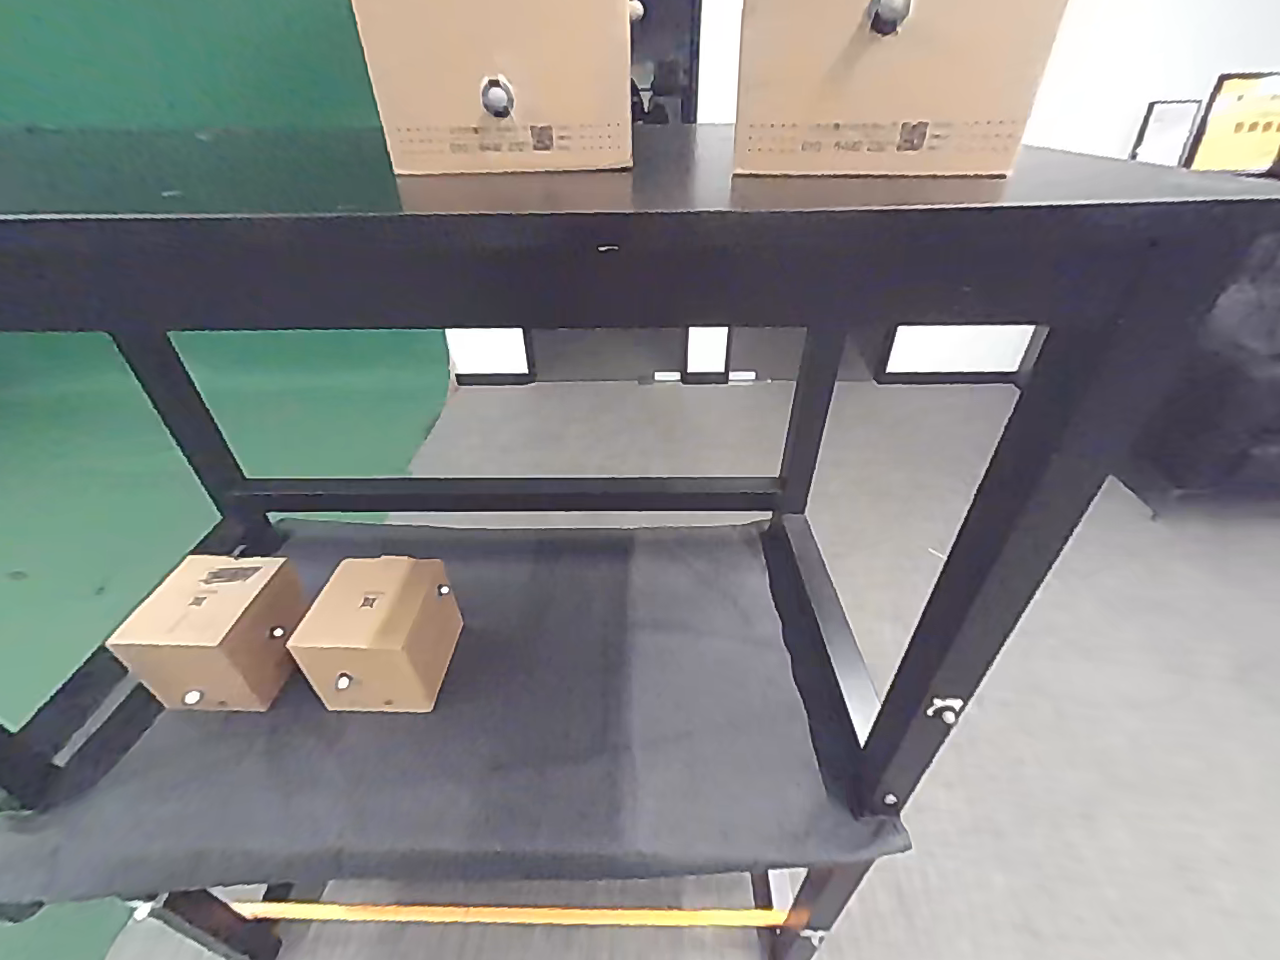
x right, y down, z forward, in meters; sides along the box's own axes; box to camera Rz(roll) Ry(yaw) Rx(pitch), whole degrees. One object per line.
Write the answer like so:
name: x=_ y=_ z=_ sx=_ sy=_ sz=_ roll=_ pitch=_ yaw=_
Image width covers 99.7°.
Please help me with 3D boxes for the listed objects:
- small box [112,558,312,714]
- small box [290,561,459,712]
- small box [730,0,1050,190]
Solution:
small box: x=-0.657 y=0.247 z=0.867 sx=0.168 sy=0.176 sz=0.179 roll=0 pitch=37 yaw=2
small box: x=-0.404 y=0.249 z=0.864 sx=0.168 sy=0.176 sz=0.179 roll=0 pitch=36 yaw=1
small box: x=0.152 y=-0.298 z=0.358 sx=0.168 sy=0.176 sz=0.179 roll=7 pitch=37 yaw=10
